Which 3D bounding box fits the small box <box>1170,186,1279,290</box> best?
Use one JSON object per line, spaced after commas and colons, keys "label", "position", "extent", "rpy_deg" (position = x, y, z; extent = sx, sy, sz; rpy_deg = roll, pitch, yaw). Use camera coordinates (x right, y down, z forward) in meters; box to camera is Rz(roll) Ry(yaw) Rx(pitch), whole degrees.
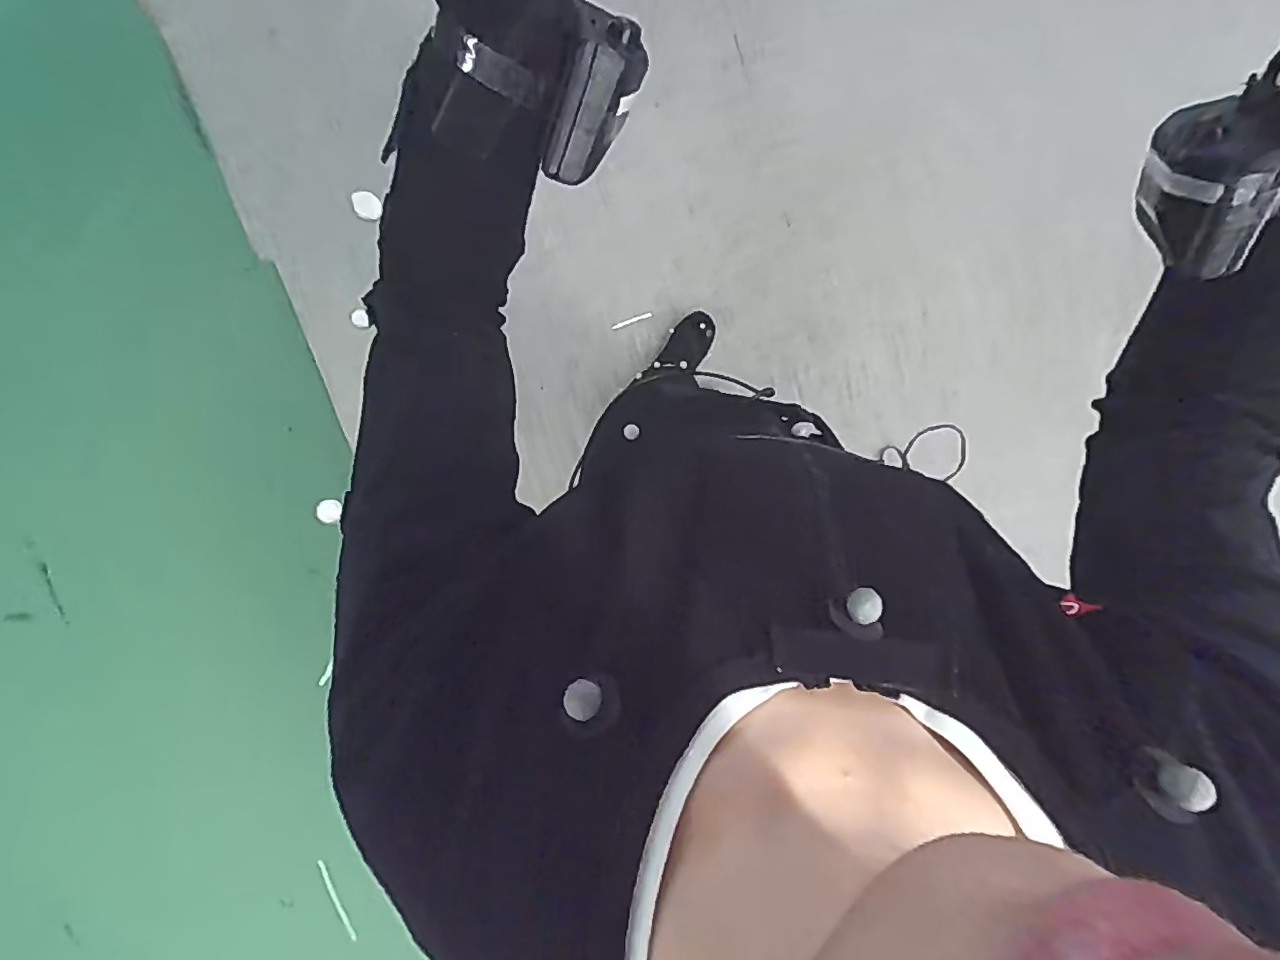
{"label": "small box", "position": [1.342, -0.538, 1.191], "extent": [0.179, 0.176, 0.168], "rpy_deg": [-18, 96, 8]}
